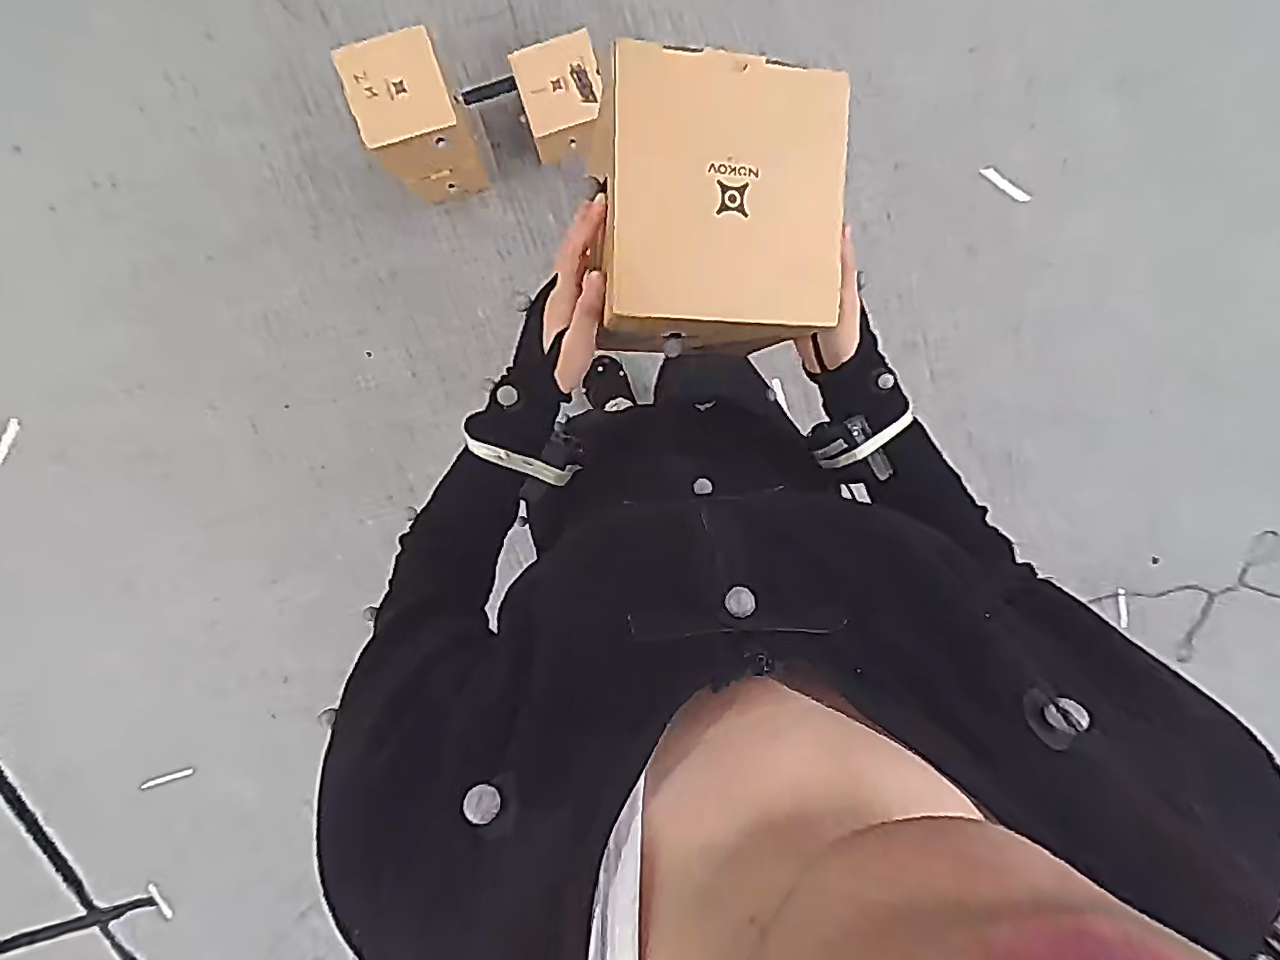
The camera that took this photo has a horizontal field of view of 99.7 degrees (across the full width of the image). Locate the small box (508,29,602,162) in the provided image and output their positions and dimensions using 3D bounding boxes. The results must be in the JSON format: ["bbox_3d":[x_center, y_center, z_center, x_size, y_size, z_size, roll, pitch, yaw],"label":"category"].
[{"bbox_3d":[-0.173,-0.841,1.200,0.179,0.176,0.168,-18,104,1],"label":"small box"}]

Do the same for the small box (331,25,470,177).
[{"bbox_3d":[-0.442,-0.714,1.040,0.179,0.176,0.168,-17,102,0],"label":"small box"}]

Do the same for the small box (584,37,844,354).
[{"bbox_3d":[0.044,-0.204,0.445,0.168,0.176,0.179,0,94,-11],"label":"small box"}]
